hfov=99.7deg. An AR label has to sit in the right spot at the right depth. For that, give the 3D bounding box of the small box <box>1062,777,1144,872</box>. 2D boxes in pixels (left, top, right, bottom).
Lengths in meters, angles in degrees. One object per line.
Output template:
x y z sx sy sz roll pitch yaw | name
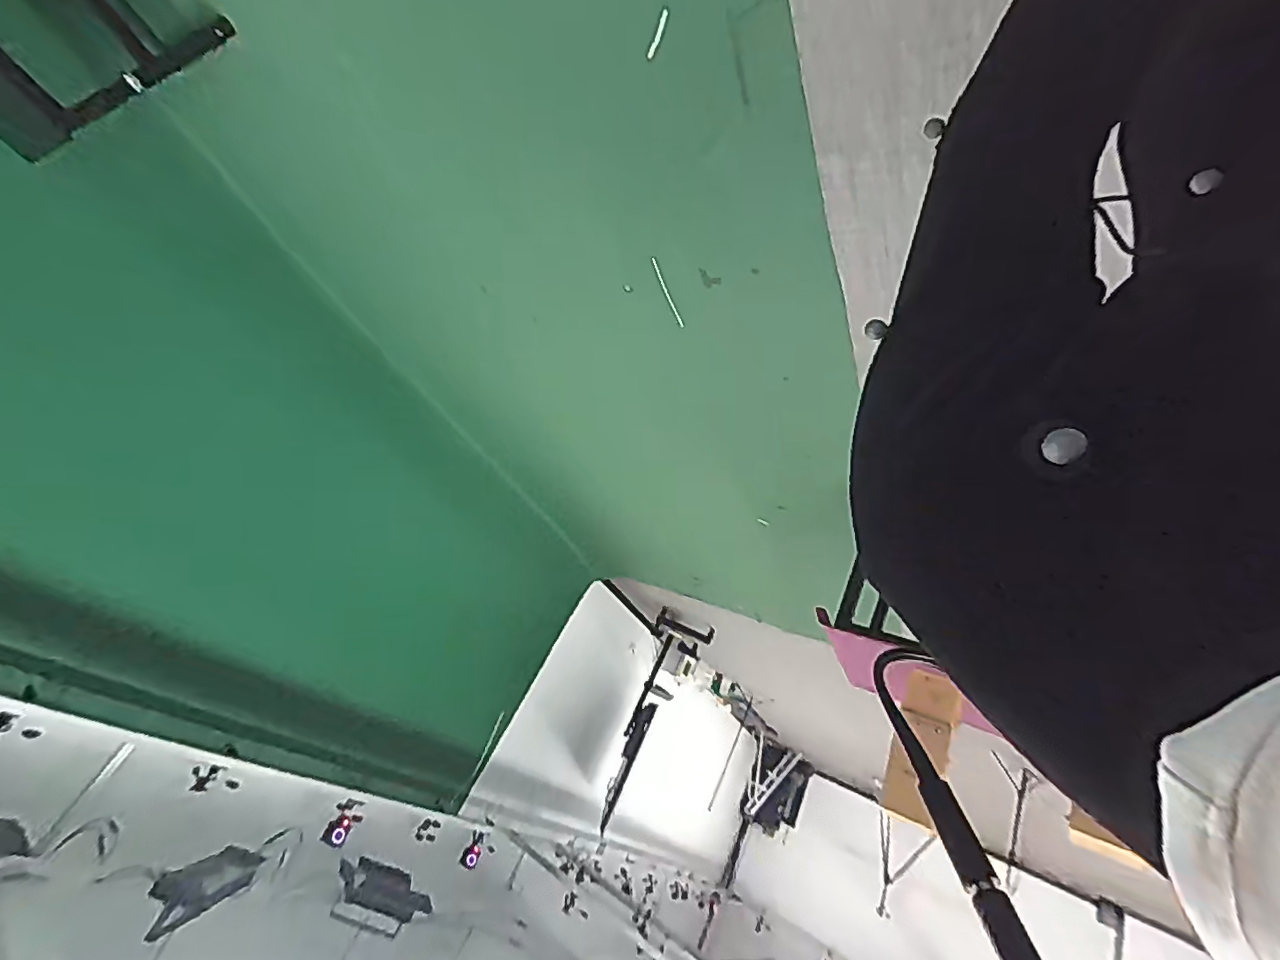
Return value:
1.357 1.005 1.588 0.168 0.176 0.179 8 147 41 | small box

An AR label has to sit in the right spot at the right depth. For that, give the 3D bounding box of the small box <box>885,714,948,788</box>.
0.971 0.945 1.894 0.168 0.176 0.179 10 151 36 | small box

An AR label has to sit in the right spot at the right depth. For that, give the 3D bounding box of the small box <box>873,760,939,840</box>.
0.904 1.079 1.830 0.168 0.176 0.179 10 149 35 | small box

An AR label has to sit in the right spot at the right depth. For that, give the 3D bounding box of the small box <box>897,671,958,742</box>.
1.049 0.819 1.967 0.168 0.176 0.179 8 149 38 | small box
